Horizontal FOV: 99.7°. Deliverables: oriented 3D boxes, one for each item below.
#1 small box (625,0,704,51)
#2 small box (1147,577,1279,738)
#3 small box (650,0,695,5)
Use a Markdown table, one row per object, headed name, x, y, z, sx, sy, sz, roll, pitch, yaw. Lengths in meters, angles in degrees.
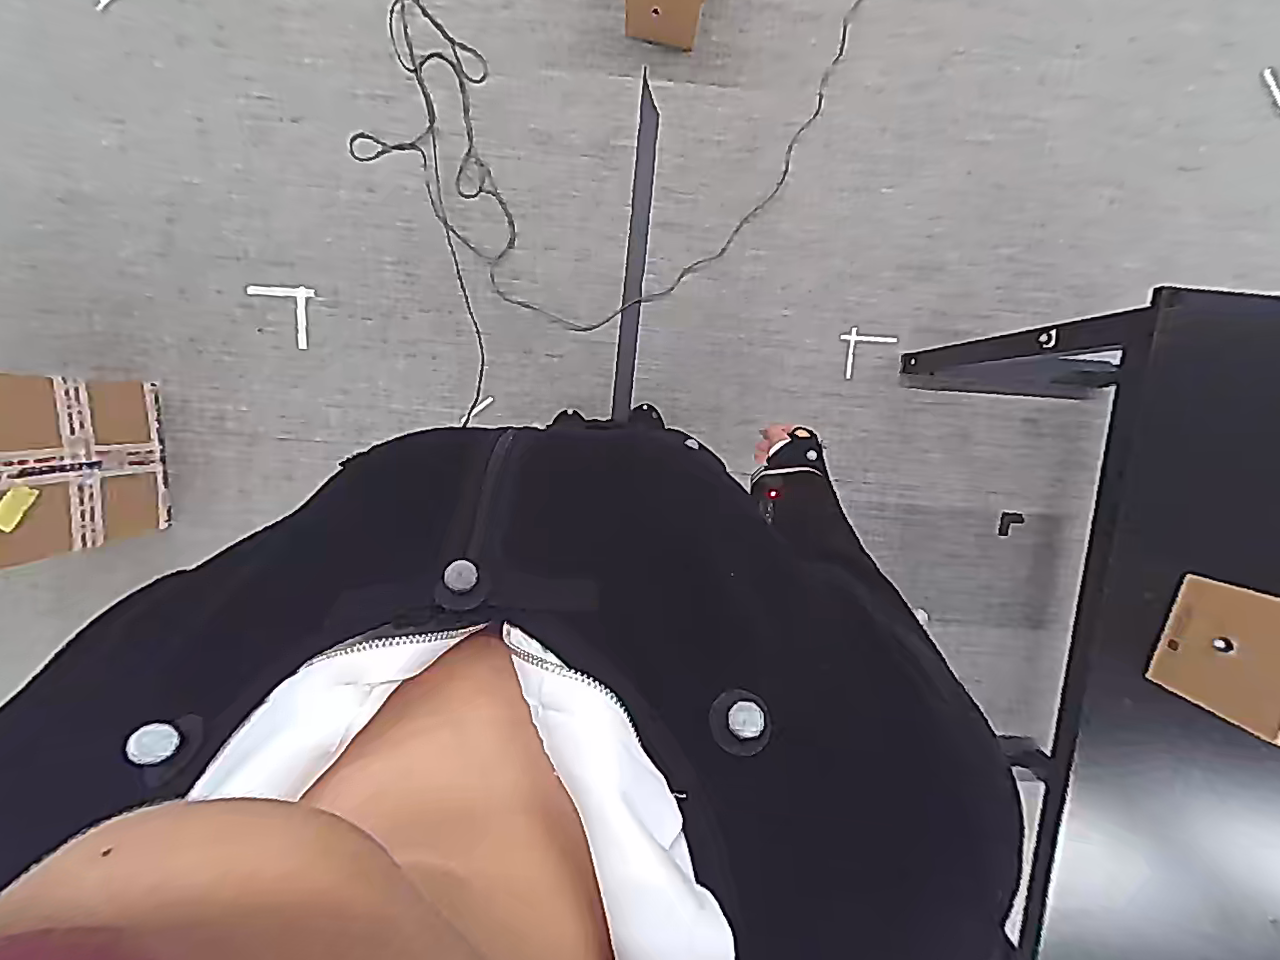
| name | x | y | z | sx | sy | sz | roll | pitch | yaw |
| --- | --- | --- | --- | --- | --- | --- | --- | --- | --- |
| small box | 0.063 | -1.156 | 1.267 | 0.179 | 0.176 | 0.168 | 11 | 97 | -2 |
| small box | 0.855 | 0.243 | 0.726 | 0.179 | 0.176 | 0.168 | 15 | 97 | -4 |
| small box | 0.061 | -1.124 | 1.104 | 0.179 | 0.176 | 0.168 | 5 | 97 | -2 |
